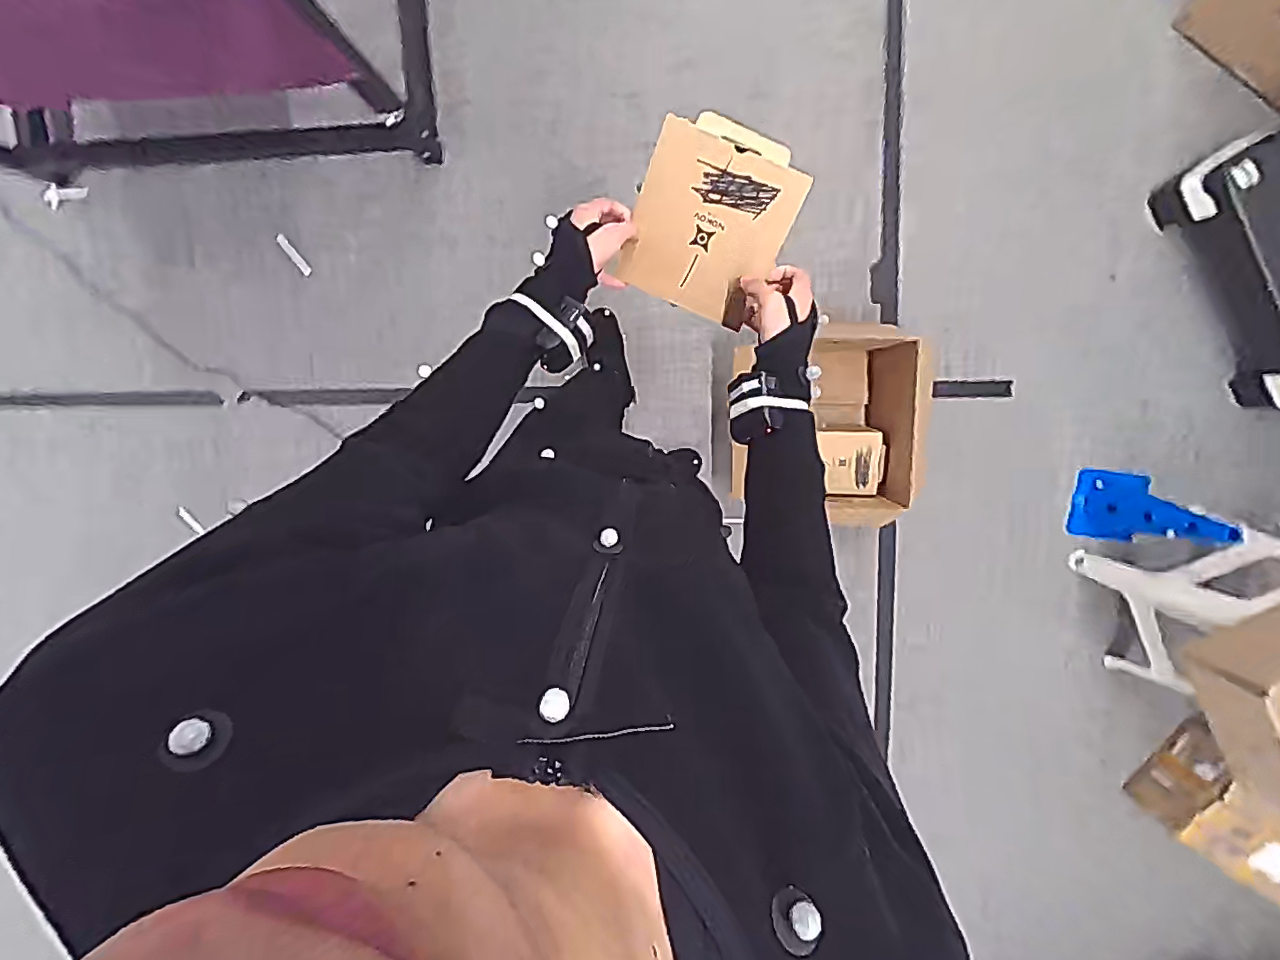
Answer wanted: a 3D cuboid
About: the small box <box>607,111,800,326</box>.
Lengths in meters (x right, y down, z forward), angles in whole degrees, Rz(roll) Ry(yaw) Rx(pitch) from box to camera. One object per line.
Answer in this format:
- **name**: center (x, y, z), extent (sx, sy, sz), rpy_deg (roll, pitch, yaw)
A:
- **small box**: center (0.074, -0.317, 0.678), extent (0.168, 0.176, 0.179), rpy_deg (23, 115, -3)
